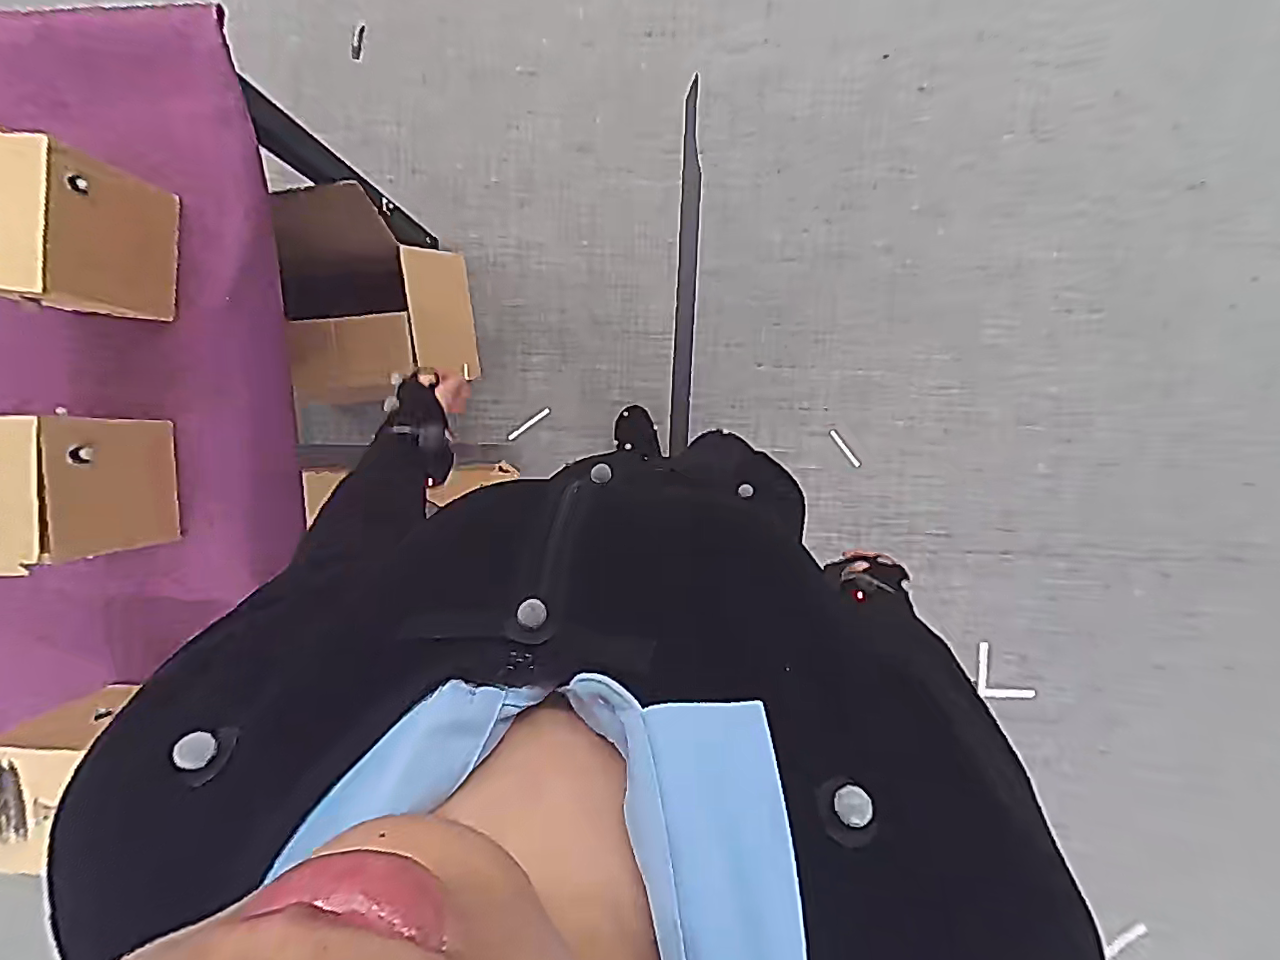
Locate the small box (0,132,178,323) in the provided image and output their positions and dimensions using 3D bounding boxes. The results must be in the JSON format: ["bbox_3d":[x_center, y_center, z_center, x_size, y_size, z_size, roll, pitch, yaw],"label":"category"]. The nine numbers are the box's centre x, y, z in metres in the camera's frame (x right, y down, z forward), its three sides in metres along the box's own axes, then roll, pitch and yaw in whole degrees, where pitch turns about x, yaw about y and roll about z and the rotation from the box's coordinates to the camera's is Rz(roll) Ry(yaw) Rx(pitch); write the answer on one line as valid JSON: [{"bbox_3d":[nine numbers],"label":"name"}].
[{"bbox_3d":[-0.734,-0.306,0.682,0.168,0.176,0.179,7,94,3],"label":"small box"}]

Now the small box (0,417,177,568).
[{"bbox_3d":[-0.755,0.011,0.705,0.168,0.176,0.179,0,94,6],"label":"small box"}]
